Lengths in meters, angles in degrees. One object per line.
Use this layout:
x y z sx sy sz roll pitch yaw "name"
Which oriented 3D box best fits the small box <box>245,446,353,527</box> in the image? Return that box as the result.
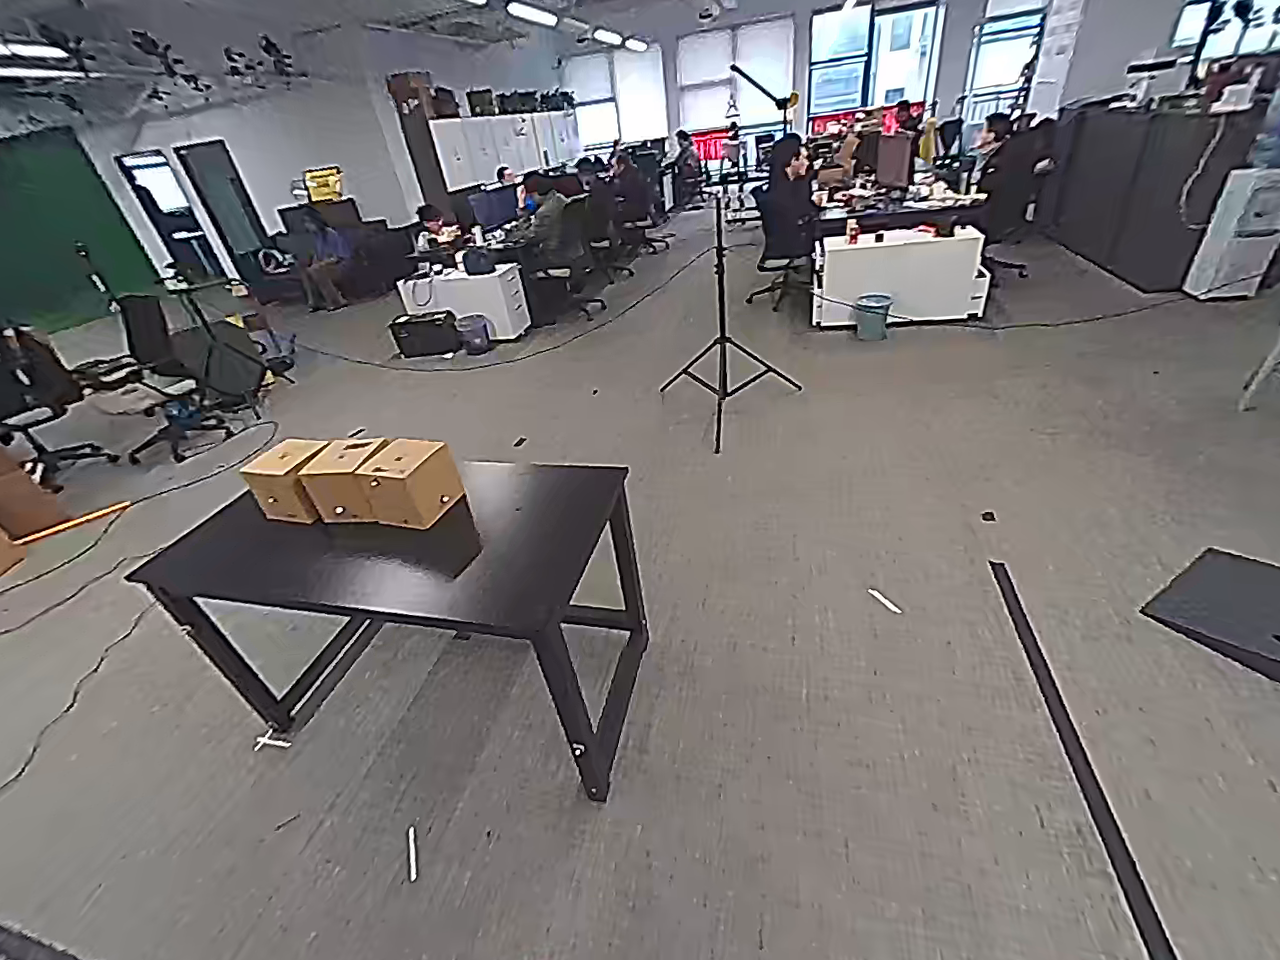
-0.973 0.019 1.563 0.168 0.176 0.179 4 35 18 "small box"
